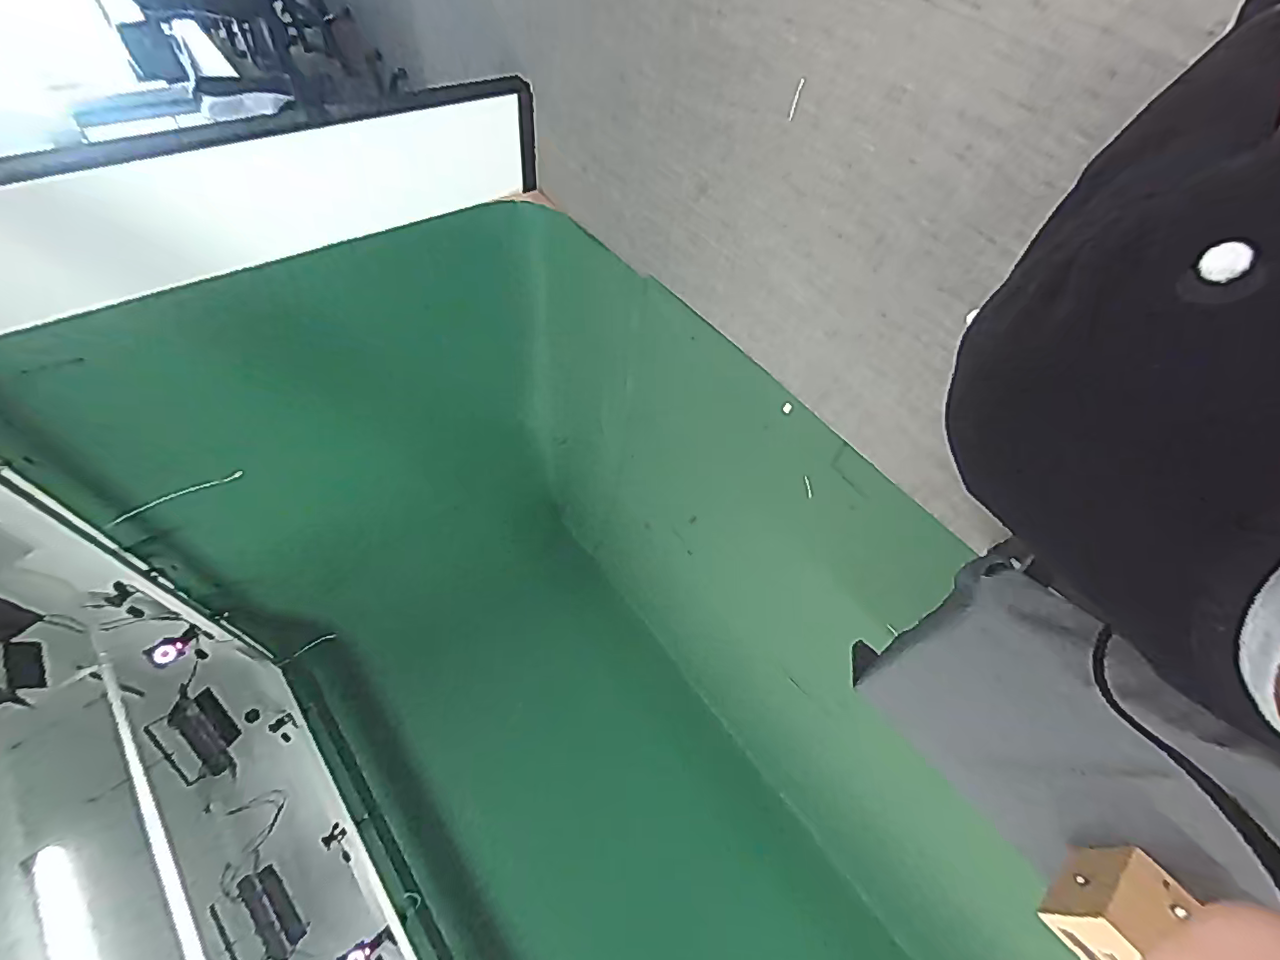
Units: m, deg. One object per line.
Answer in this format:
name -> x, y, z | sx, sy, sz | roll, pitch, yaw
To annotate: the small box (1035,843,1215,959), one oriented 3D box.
small box -> 0.917, 0.827, 1.026 | 0.168, 0.176, 0.179 | 45, 149, 23
